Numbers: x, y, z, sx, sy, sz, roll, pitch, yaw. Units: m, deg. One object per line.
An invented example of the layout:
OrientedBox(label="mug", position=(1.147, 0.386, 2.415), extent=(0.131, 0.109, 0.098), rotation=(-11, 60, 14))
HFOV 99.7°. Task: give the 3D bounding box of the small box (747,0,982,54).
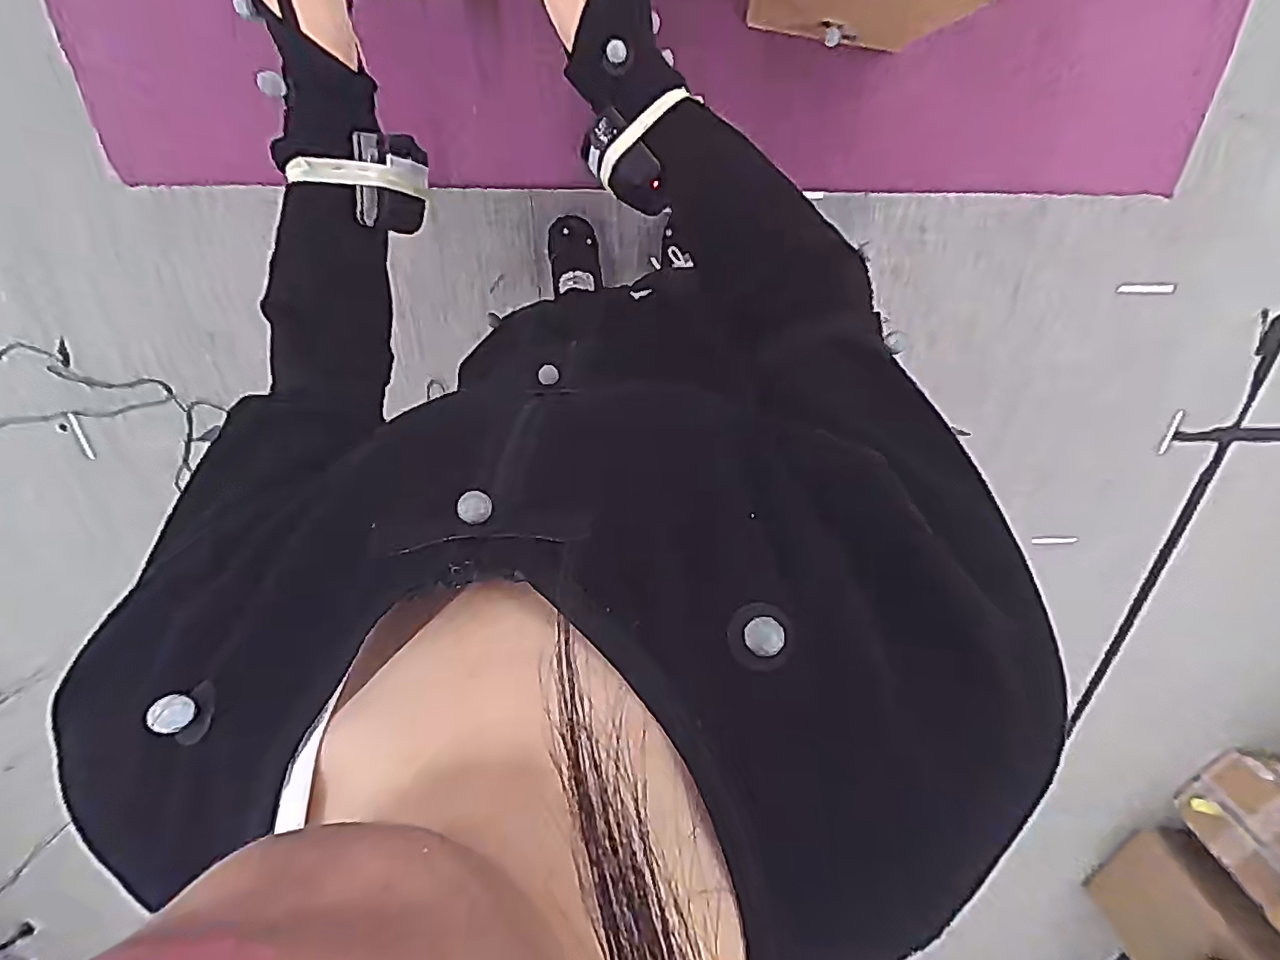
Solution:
OrientedBox(label="small box", position=(0.199, -0.499, 0.456), extent=(0.168, 0.176, 0.179), rotation=(5, 116, -6))
